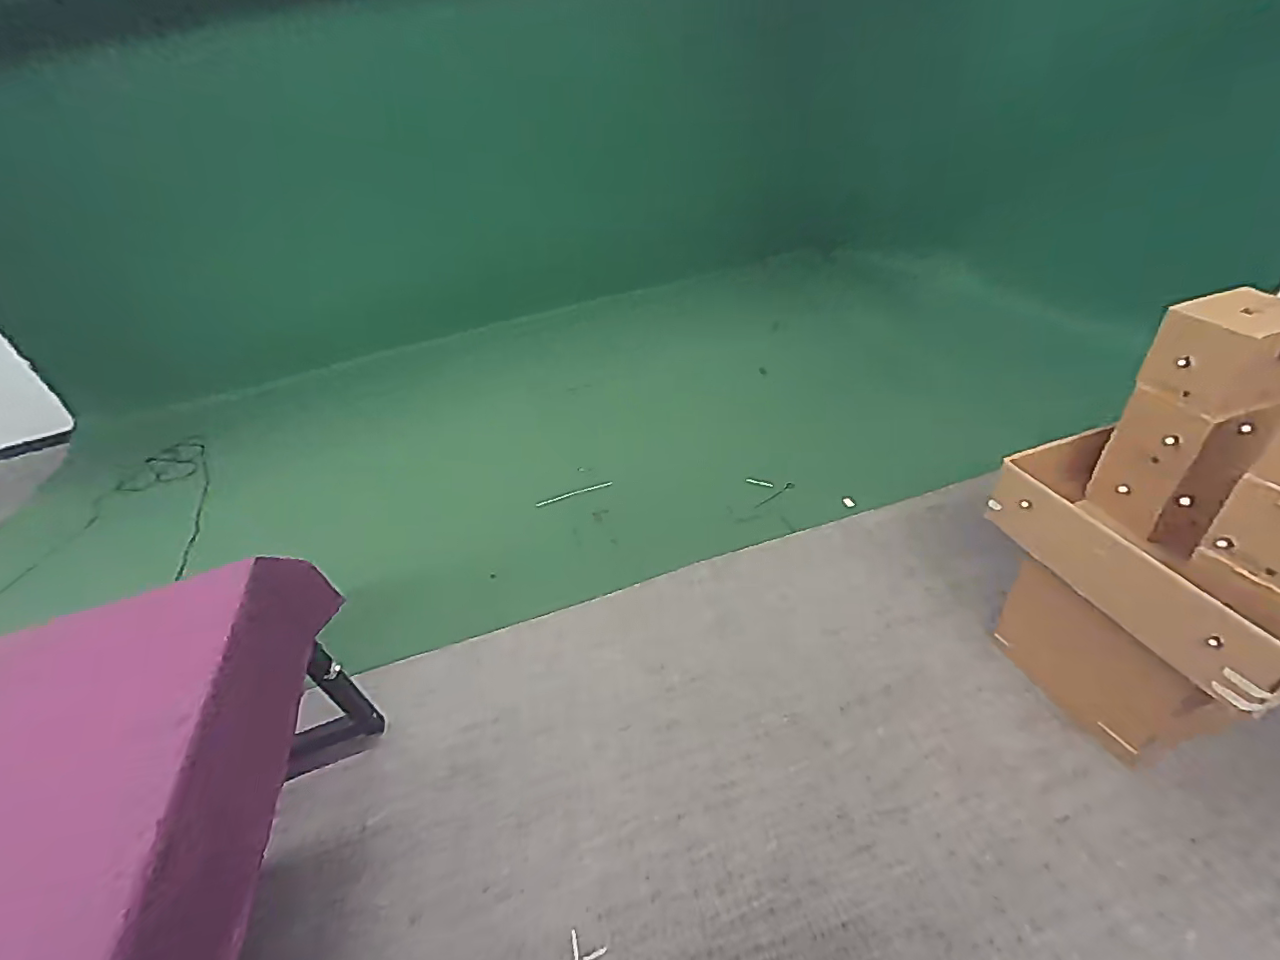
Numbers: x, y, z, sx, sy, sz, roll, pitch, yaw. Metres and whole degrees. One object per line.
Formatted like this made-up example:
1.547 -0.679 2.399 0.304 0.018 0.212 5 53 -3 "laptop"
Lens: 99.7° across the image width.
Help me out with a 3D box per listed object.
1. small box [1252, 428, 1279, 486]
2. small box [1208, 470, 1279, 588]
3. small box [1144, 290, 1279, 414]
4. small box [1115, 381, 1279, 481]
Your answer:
1.126 -0.055 0.825 0.168 0.176 0.179 -20 39 -12 "small box"
1.142 0.074 0.922 0.179 0.176 0.168 -18 38 -9 "small box"
1.159 -0.251 1.067 0.179 0.176 0.168 -14 39 -3 "small box"
1.181 -0.119 1.164 0.179 0.176 0.168 -15 39 -5 "small box"
